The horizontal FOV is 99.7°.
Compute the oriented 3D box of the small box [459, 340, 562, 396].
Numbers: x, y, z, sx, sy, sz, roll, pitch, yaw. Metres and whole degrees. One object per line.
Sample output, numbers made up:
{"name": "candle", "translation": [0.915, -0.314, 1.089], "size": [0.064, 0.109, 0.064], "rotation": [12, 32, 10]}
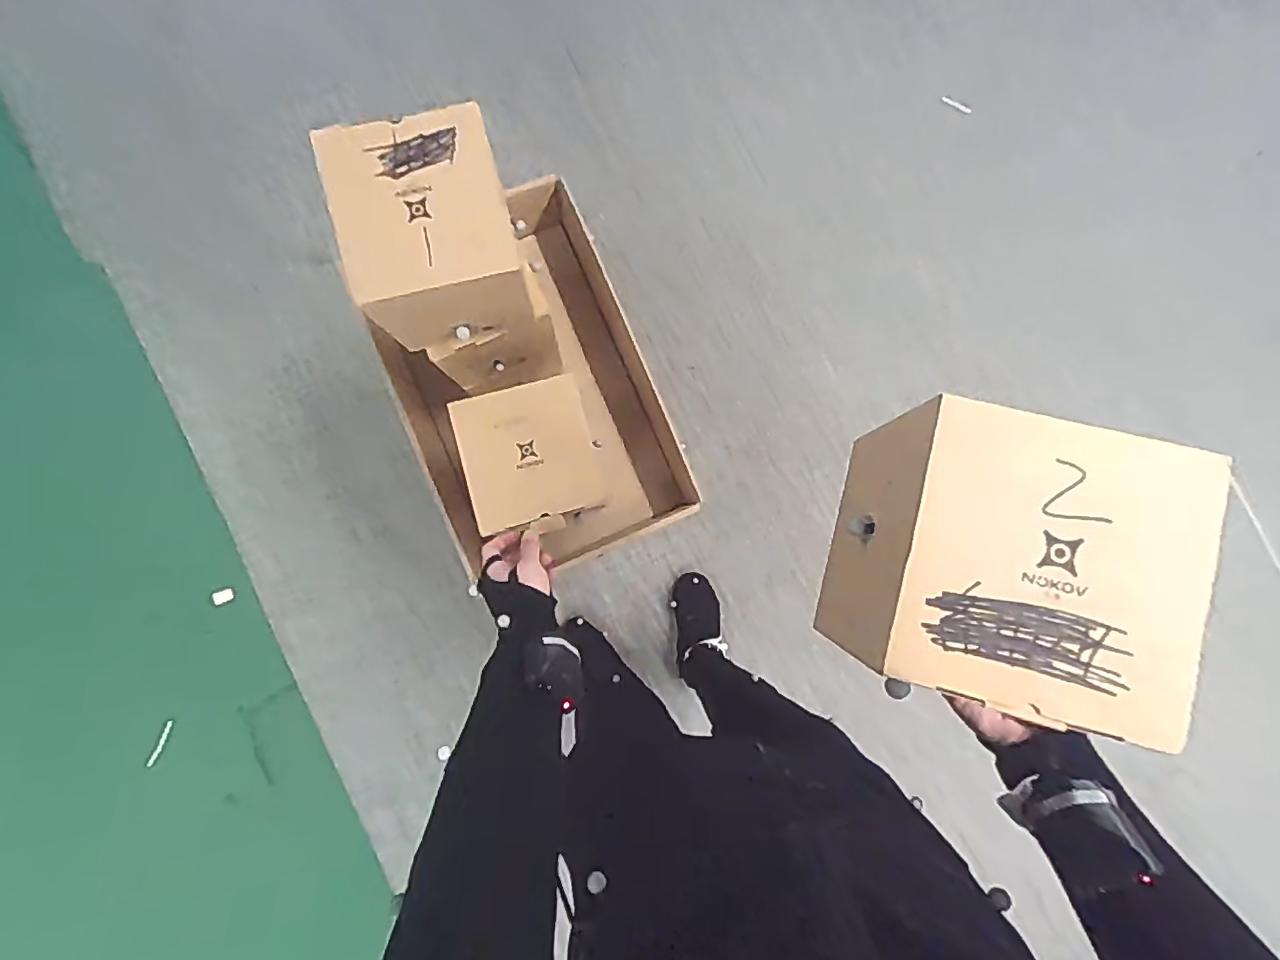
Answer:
{"name": "small box", "translation": [-0.245, -0.251, 0.939], "size": [0.168, 0.176, 0.179], "rotation": [-24, 89, -5]}

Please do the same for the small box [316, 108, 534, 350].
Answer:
{"name": "small box", "translation": [-0.226, -0.268, 0.613], "size": [0.168, 0.176, 0.179], "rotation": [-15, 89, -5]}

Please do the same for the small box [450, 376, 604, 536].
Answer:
{"name": "small box", "translation": [-0.147, -0.027, 0.762], "size": [0.168, 0.176, 0.179], "rotation": [-14, 86, -6]}

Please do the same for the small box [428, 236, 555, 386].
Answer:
{"name": "small box", "translation": [-0.233, -0.257, 0.778], "size": [0.168, 0.176, 0.179], "rotation": [-24, 90, -6]}
